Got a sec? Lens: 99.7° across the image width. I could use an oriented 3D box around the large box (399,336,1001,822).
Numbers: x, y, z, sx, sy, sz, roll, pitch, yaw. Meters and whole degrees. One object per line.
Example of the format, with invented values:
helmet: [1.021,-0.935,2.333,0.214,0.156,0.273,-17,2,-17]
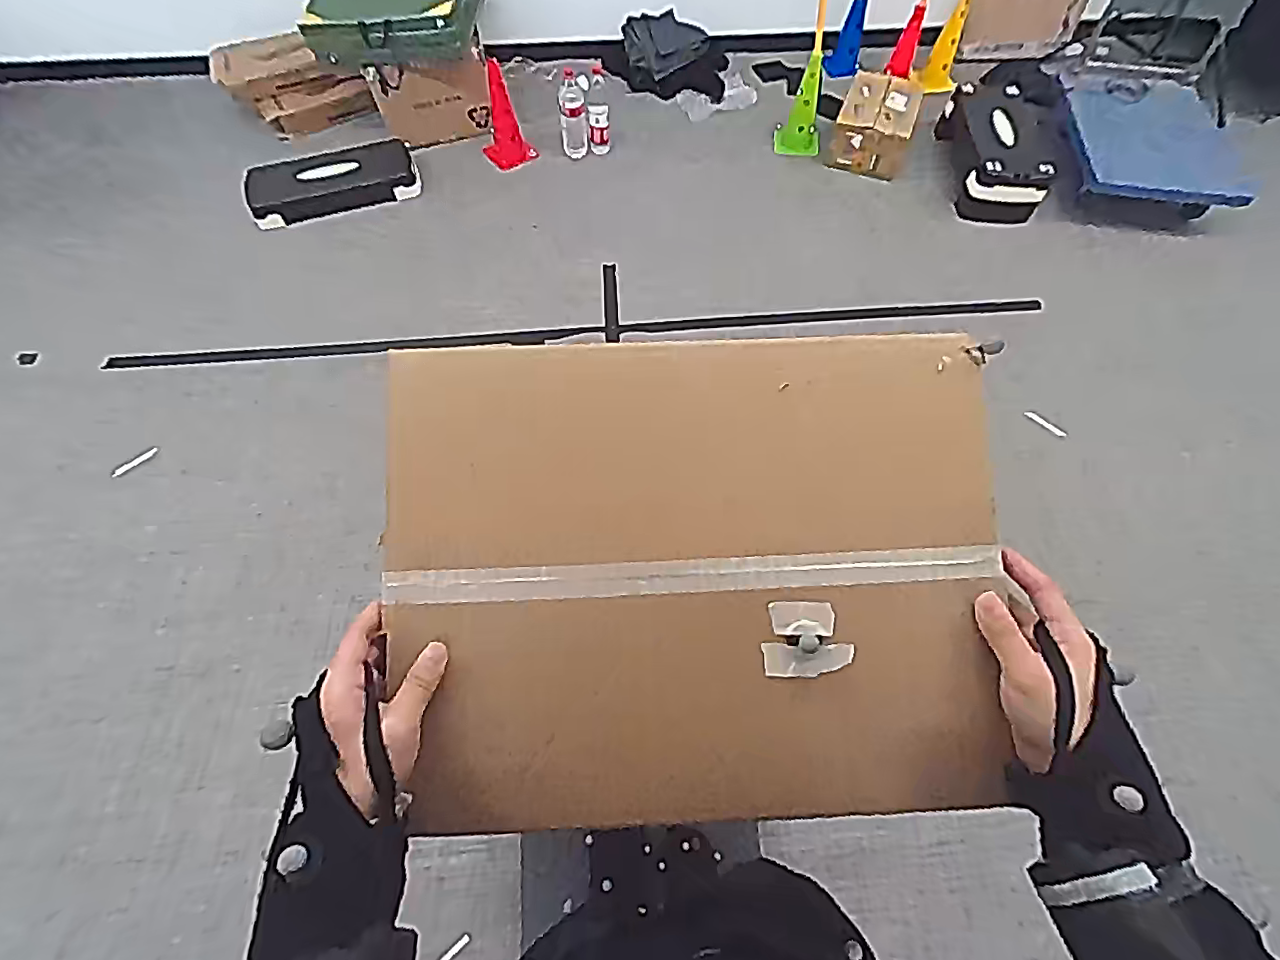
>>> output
large box: [0.032,0.073,0.516,0.408,0.320,0.320,-2,86,-2]
